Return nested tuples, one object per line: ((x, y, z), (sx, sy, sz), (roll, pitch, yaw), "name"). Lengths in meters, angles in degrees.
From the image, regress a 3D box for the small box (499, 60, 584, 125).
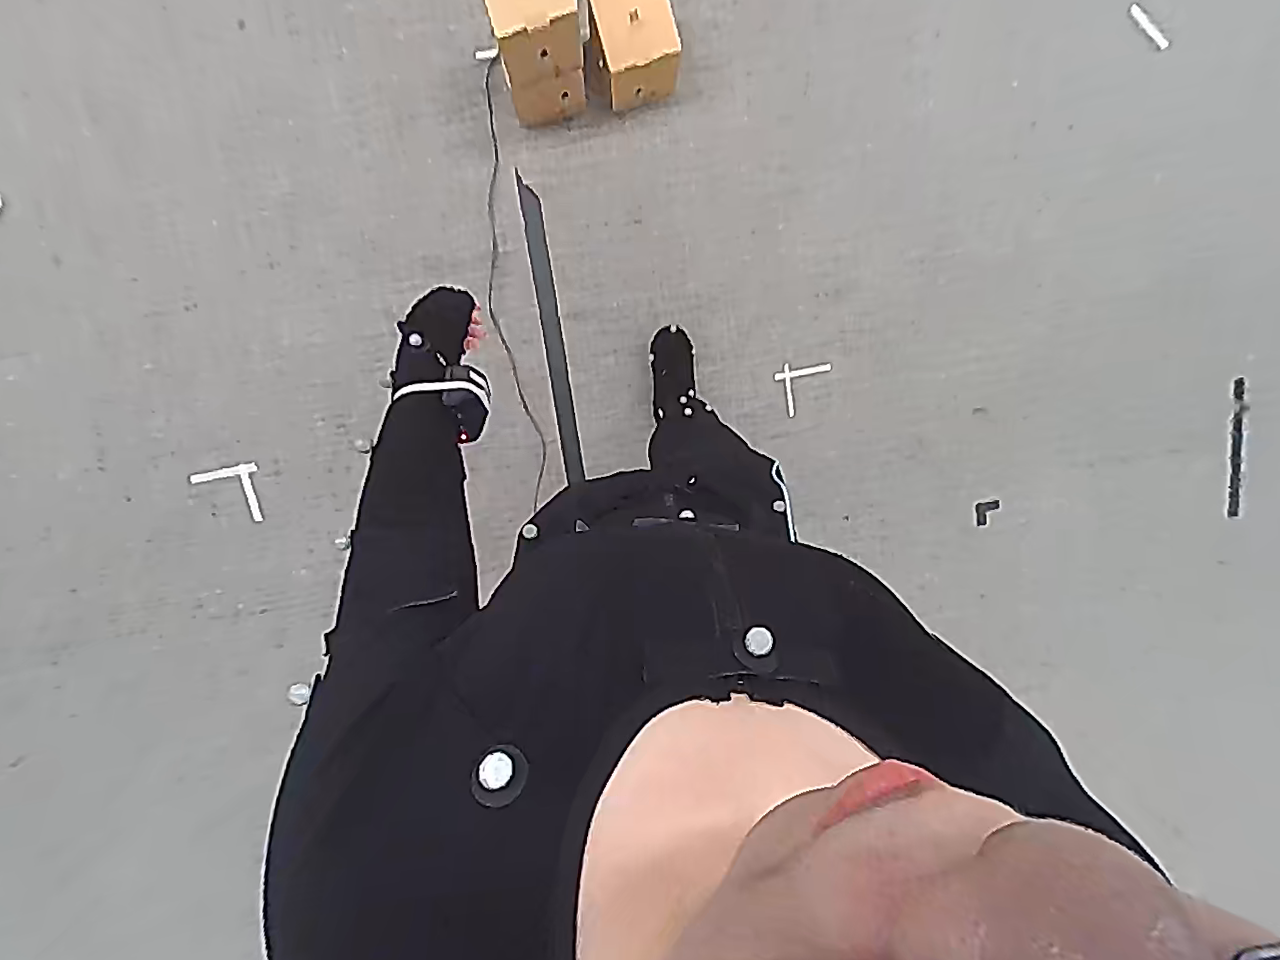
((-0.230, -0.950, 1.241), (0.168, 0.176, 0.179), (-14, 98, -1), "small box")

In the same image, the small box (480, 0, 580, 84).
((-0.223, -0.932, 1.077), (0.168, 0.176, 0.179), (-18, 99, 0), "small box")

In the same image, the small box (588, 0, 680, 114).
((-0.017, -0.993, 1.243), (0.168, 0.176, 0.179), (-18, 99, 0), "small box")
